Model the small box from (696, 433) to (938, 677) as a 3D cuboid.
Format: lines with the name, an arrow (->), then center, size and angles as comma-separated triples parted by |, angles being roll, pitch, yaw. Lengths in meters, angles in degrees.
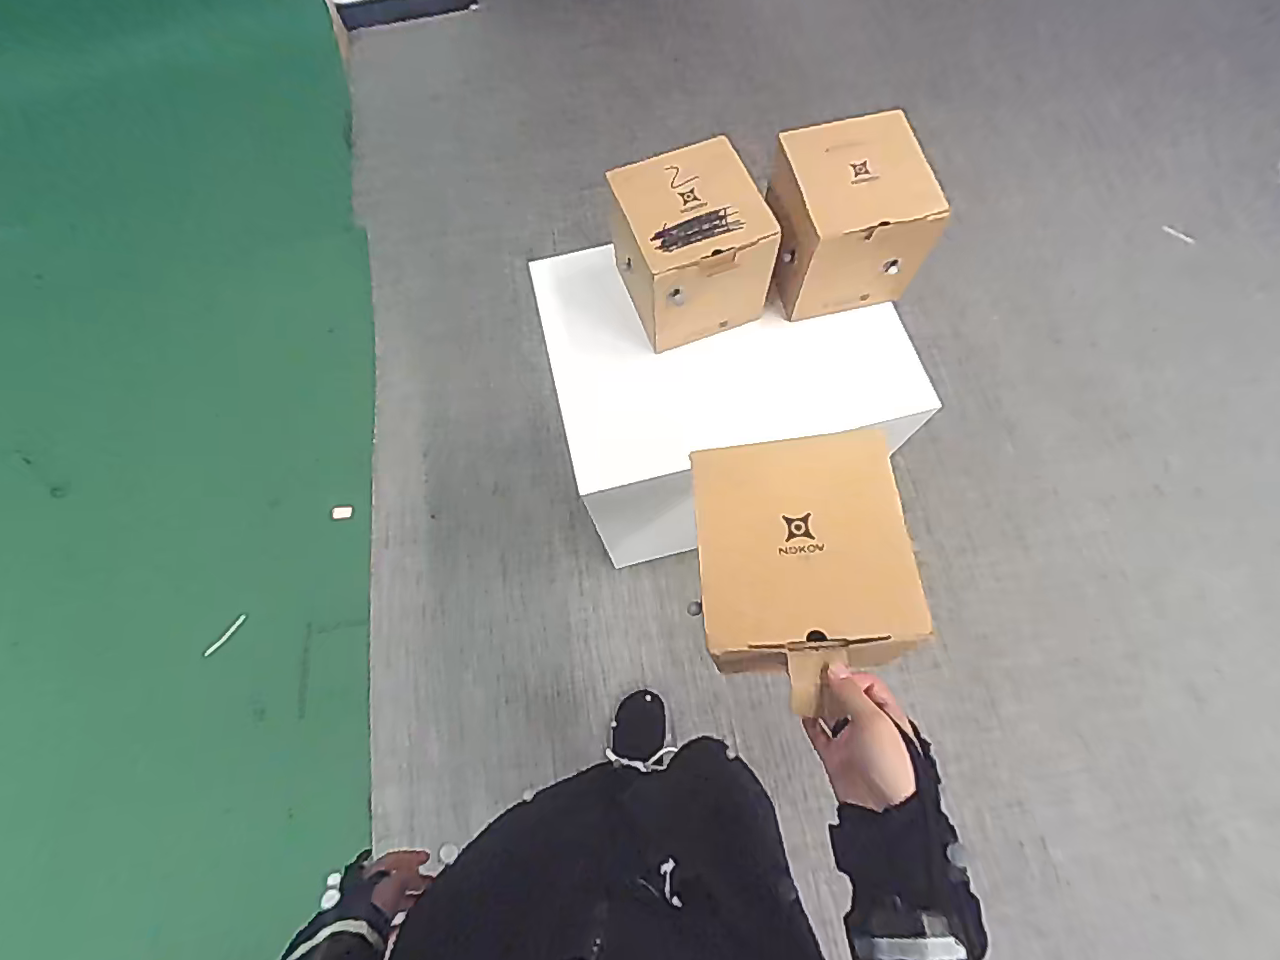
small box -> 0.147, 0.080, 0.506 | 0.168, 0.176, 0.179 | -8, 64, 10

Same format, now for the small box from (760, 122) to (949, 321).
small box -> 0.276, -0.339, 0.742 | 0.168, 0.176, 0.179 | -12, 70, -2
